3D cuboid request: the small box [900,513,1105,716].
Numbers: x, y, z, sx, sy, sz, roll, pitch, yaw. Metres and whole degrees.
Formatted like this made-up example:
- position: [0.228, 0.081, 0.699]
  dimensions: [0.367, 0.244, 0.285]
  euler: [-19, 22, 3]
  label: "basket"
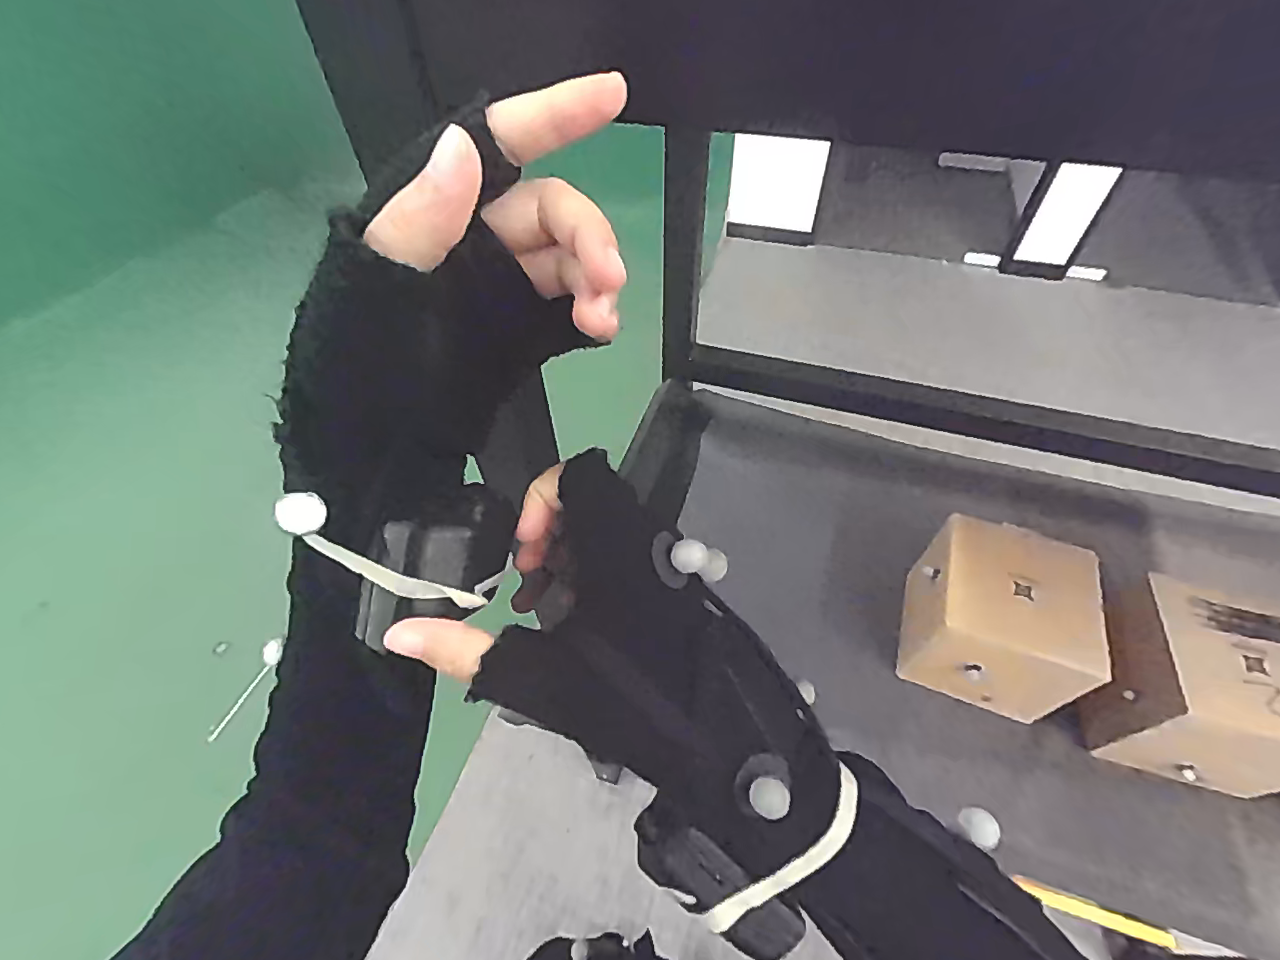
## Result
- position: [0.455, 0.178, 0.705]
  dimensions: [0.168, 0.176, 0.179]
  euler: [17, 53, 15]
  label: "small box"
